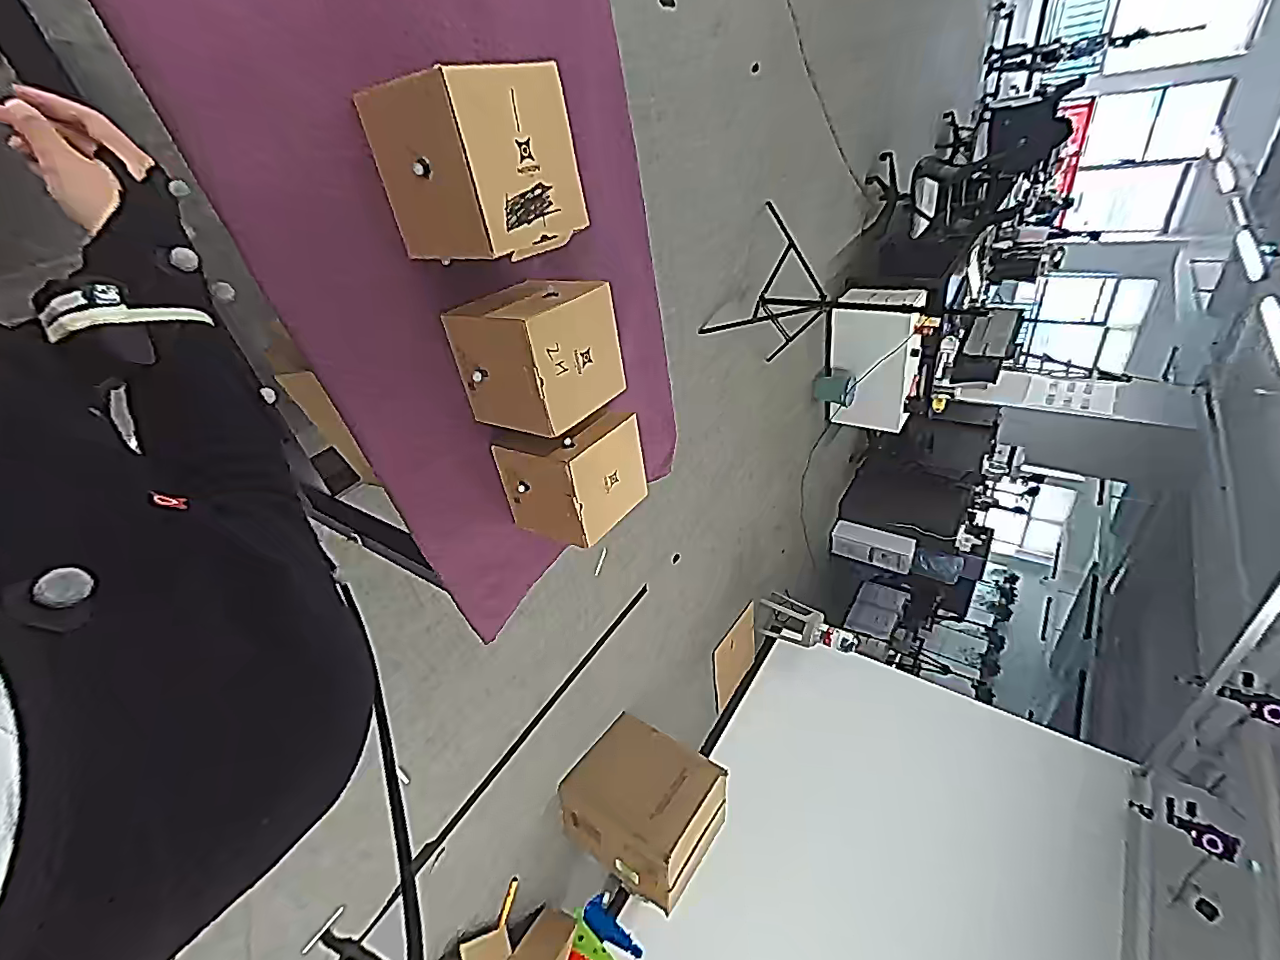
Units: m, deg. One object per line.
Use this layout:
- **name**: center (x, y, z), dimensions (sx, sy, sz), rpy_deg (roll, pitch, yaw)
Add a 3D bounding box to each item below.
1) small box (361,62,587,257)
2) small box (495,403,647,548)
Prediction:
- **small box**: center (-0.192, -0.378, 0.648), dimensions (0.168, 0.176, 0.179), rpy_deg (-41, 133, -39)
- **small box**: center (-0.111, -0.018, 0.914), dimensions (0.179, 0.176, 0.168), rpy_deg (-41, 134, -40)
